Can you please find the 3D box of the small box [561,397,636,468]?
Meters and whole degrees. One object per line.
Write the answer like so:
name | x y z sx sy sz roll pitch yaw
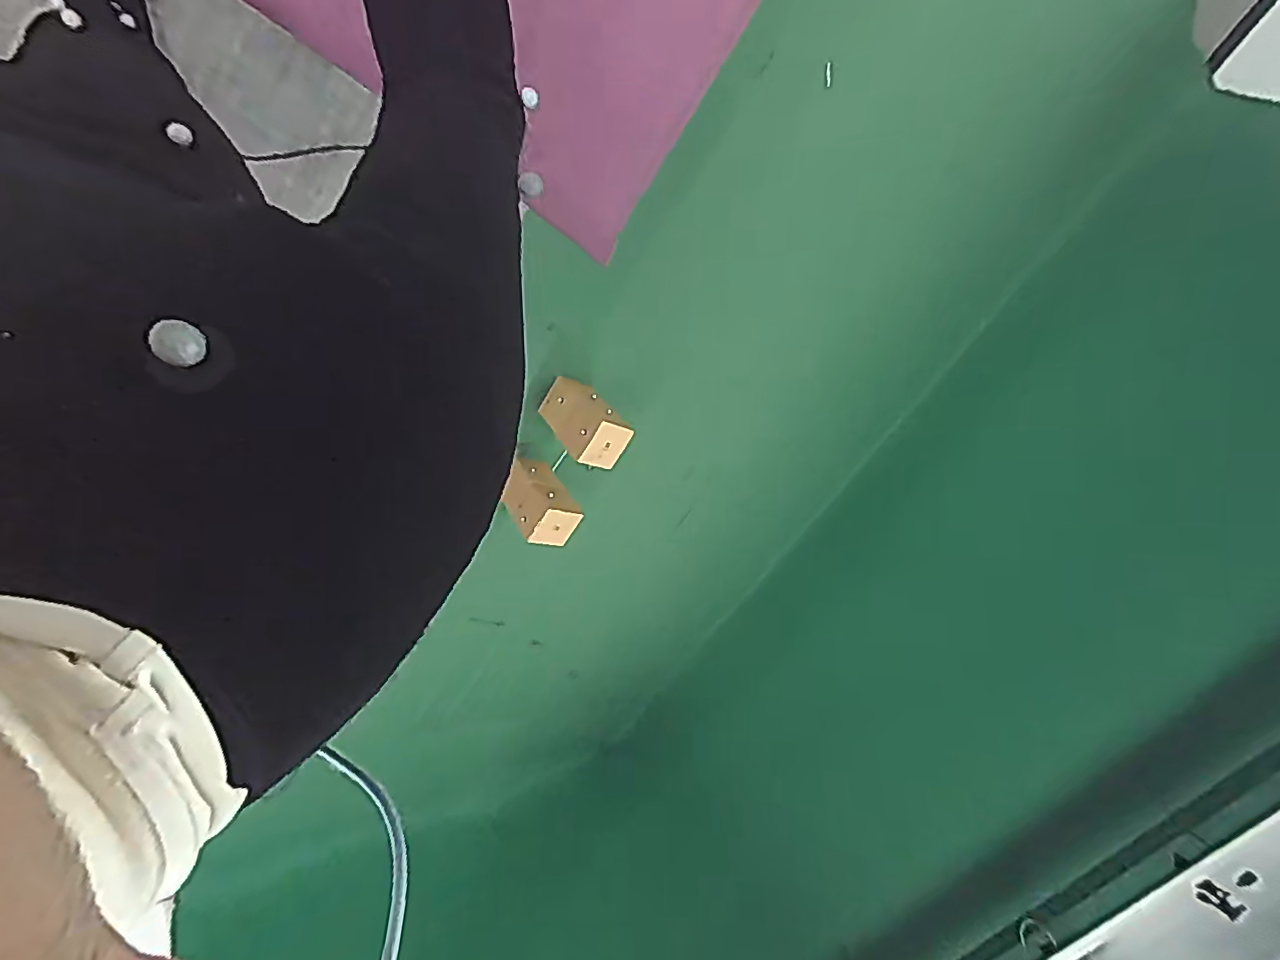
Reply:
small box | -0.153 -0.170 1.926 0.168 0.176 0.179 14 118 -48

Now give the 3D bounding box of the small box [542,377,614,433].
small box | -0.239 -0.267 2.028 0.179 0.176 0.168 13 118 -48

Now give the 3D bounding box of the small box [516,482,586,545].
small box | -0.345 0.126 2.059 0.179 0.176 0.168 15 118 -48
